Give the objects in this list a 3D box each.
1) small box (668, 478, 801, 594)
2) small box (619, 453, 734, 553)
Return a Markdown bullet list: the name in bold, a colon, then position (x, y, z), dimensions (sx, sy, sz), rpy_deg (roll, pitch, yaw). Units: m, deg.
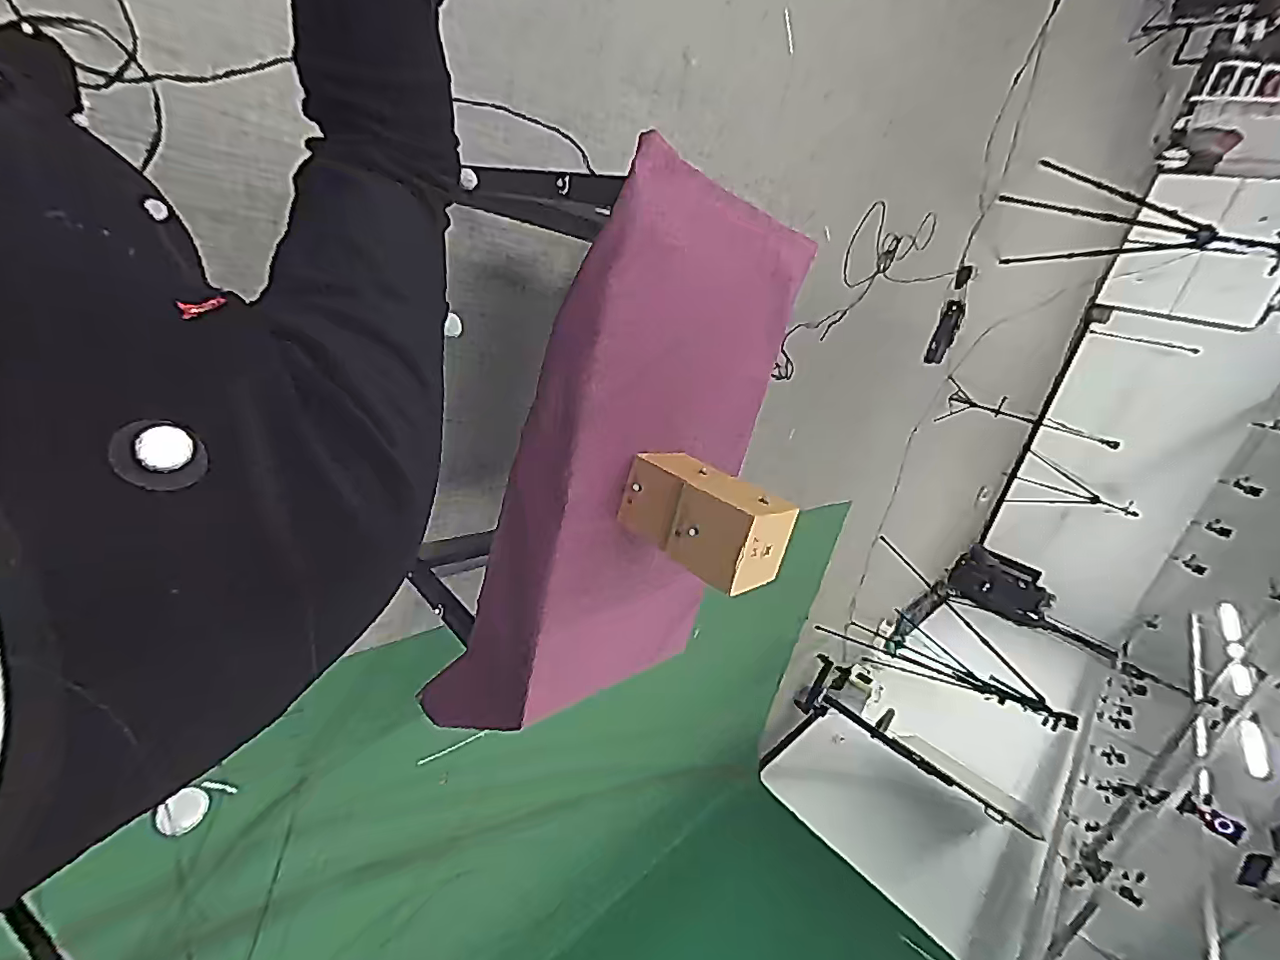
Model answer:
- **small box**: position (0.186, 0.101, 1.083), dimensions (0.179, 0.176, 0.168), rpy_deg (-4, 114, -46)
- **small box**: position (0.083, 0.043, 1.198), dimensions (0.179, 0.176, 0.168), rpy_deg (-2, 113, -47)
